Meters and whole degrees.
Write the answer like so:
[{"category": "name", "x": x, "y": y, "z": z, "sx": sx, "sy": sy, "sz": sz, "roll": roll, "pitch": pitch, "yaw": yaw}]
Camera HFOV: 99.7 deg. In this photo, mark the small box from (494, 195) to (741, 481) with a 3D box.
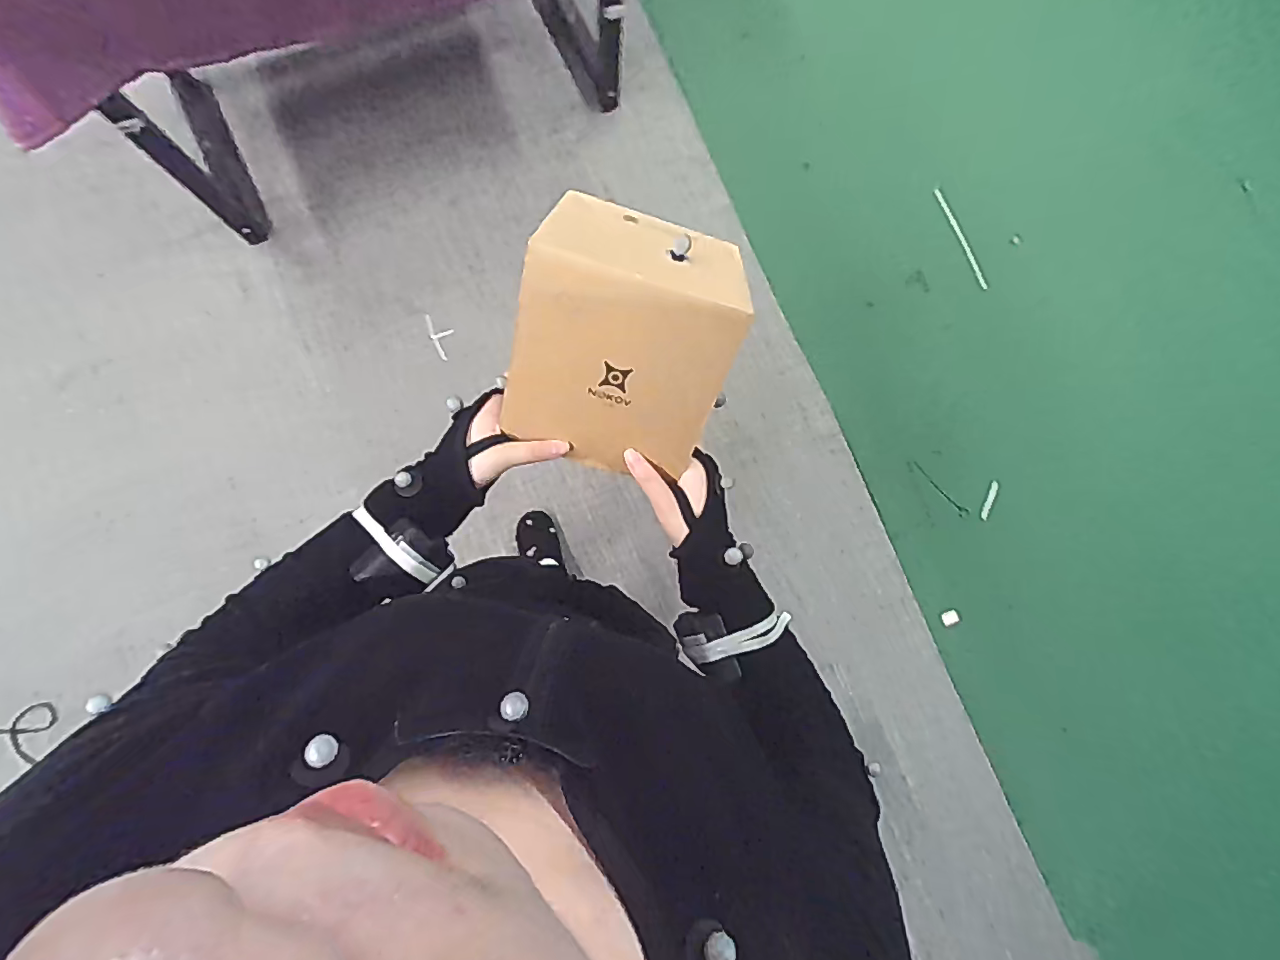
[{"category": "small box", "x": -0.023, "y": -0.133, "z": 0.493, "sx": 0.168, "sy": 0.179, "sz": 0.176, "roll": 15, "pitch": 40, "yaw": -7}]
